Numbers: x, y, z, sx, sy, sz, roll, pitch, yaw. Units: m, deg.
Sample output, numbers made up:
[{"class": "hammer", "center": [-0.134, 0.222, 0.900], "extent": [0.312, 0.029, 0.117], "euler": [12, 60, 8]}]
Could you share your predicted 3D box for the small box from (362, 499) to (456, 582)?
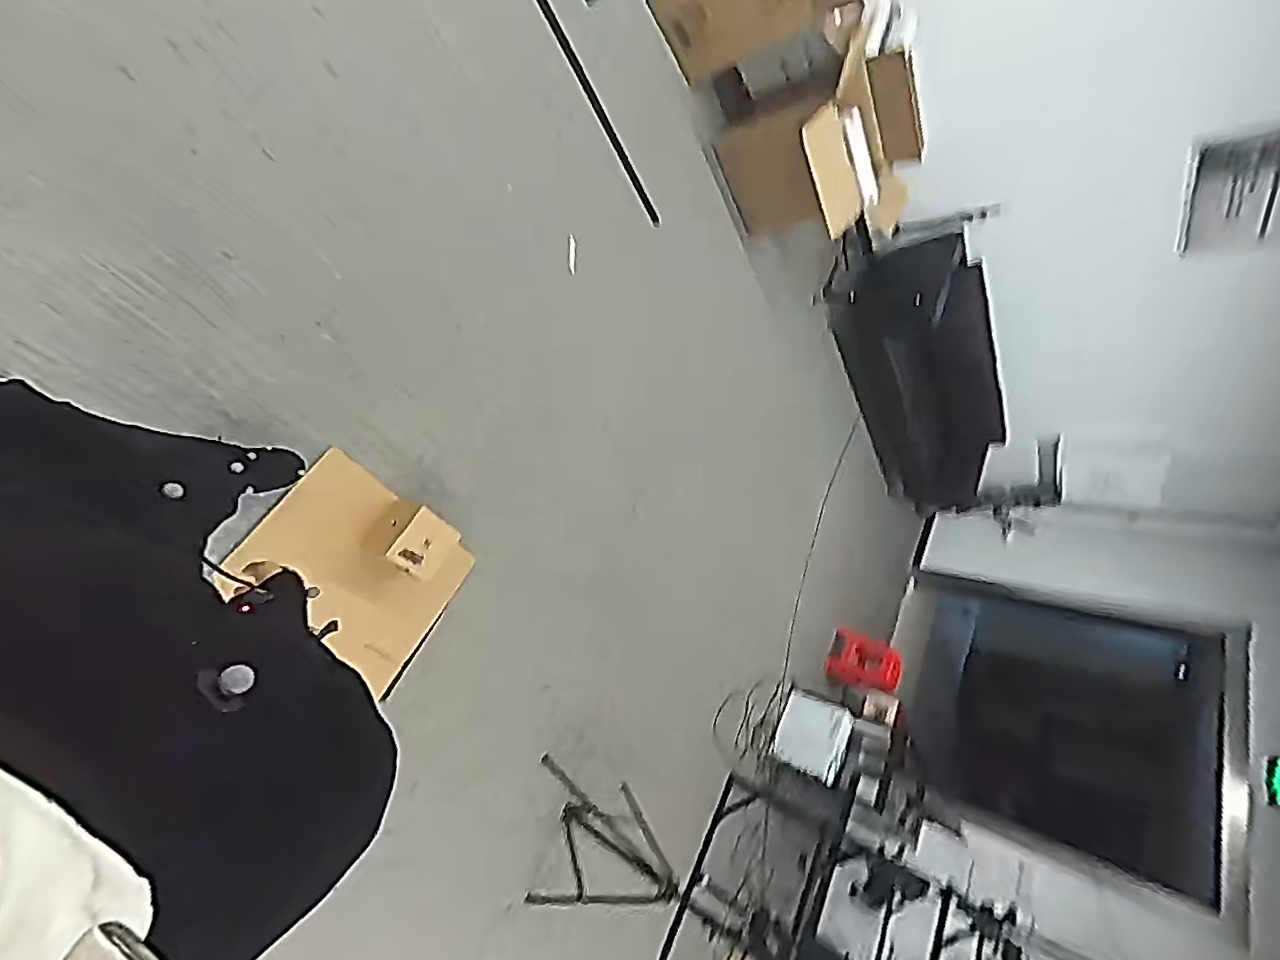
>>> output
[{"class": "small box", "center": [-0.696, 0.177, 1.616], "extent": [0.168, 0.176, 0.179], "euler": [53, 56, -39]}]
